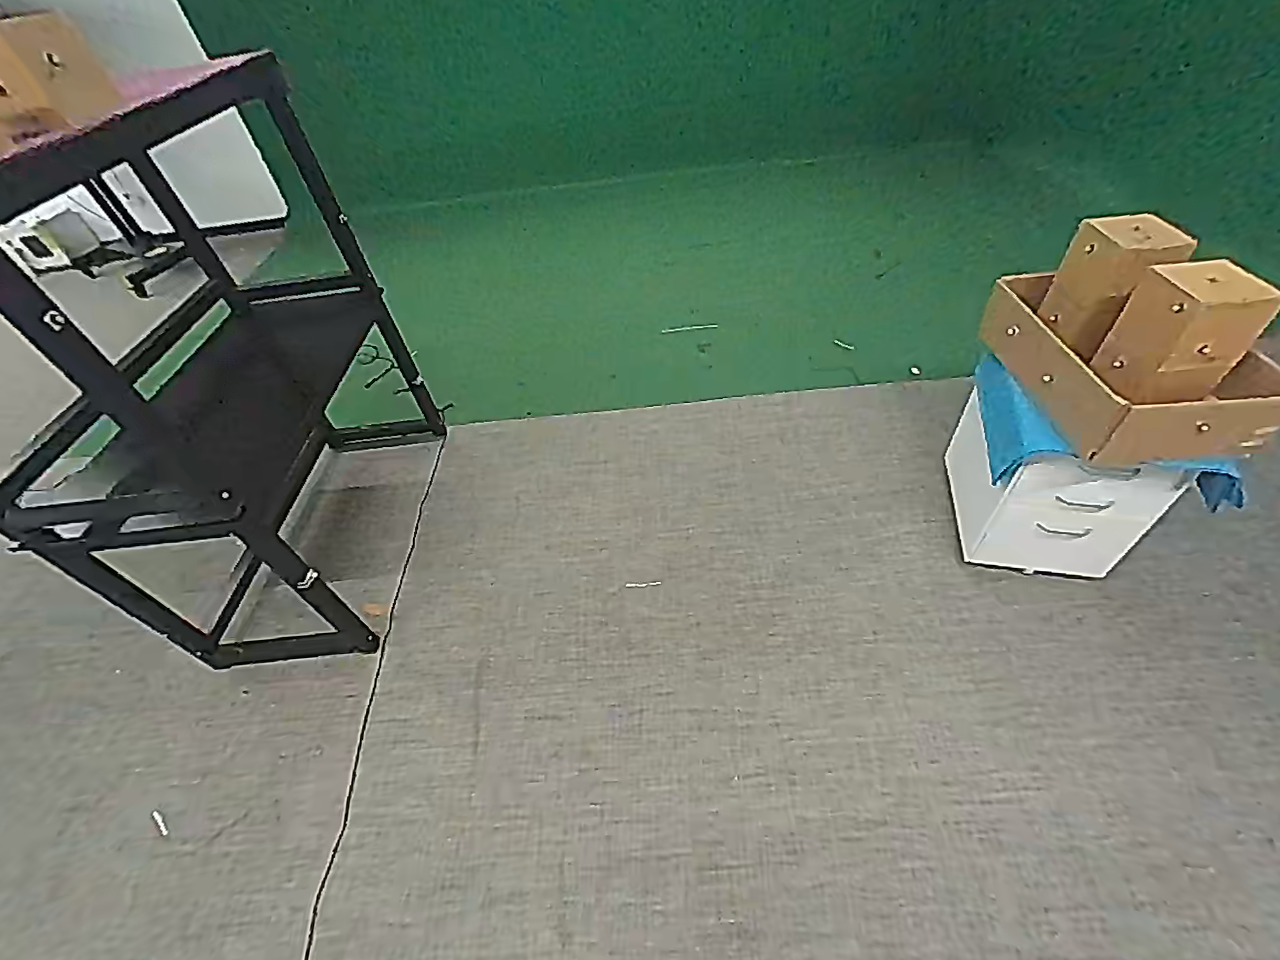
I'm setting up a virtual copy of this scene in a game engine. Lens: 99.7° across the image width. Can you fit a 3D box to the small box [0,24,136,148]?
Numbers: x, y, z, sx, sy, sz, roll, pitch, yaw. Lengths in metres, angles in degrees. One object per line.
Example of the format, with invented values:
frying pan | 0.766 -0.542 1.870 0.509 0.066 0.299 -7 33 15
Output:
small box | -1.211 -0.800 1.108 0.168 0.176 0.179 -4 46 7
